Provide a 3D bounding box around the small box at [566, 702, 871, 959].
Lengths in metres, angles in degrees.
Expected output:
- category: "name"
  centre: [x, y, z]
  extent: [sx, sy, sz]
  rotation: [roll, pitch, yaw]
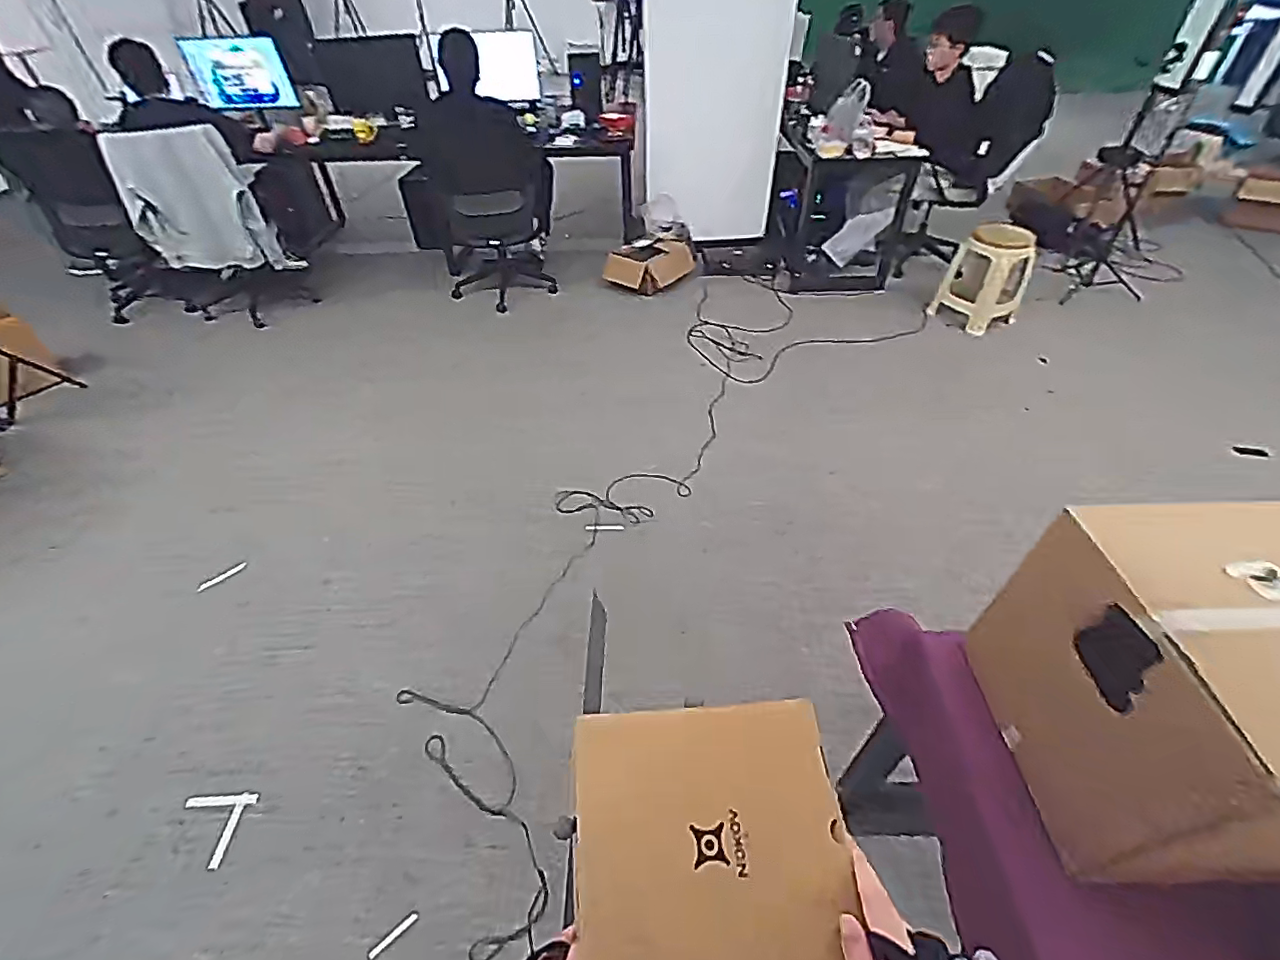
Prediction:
- category: "small box"
  centre: [0.034, 0.277, 0.402]
  extent: [0.179, 0.176, 0.168]
  rotation: [0, 53, -9]
